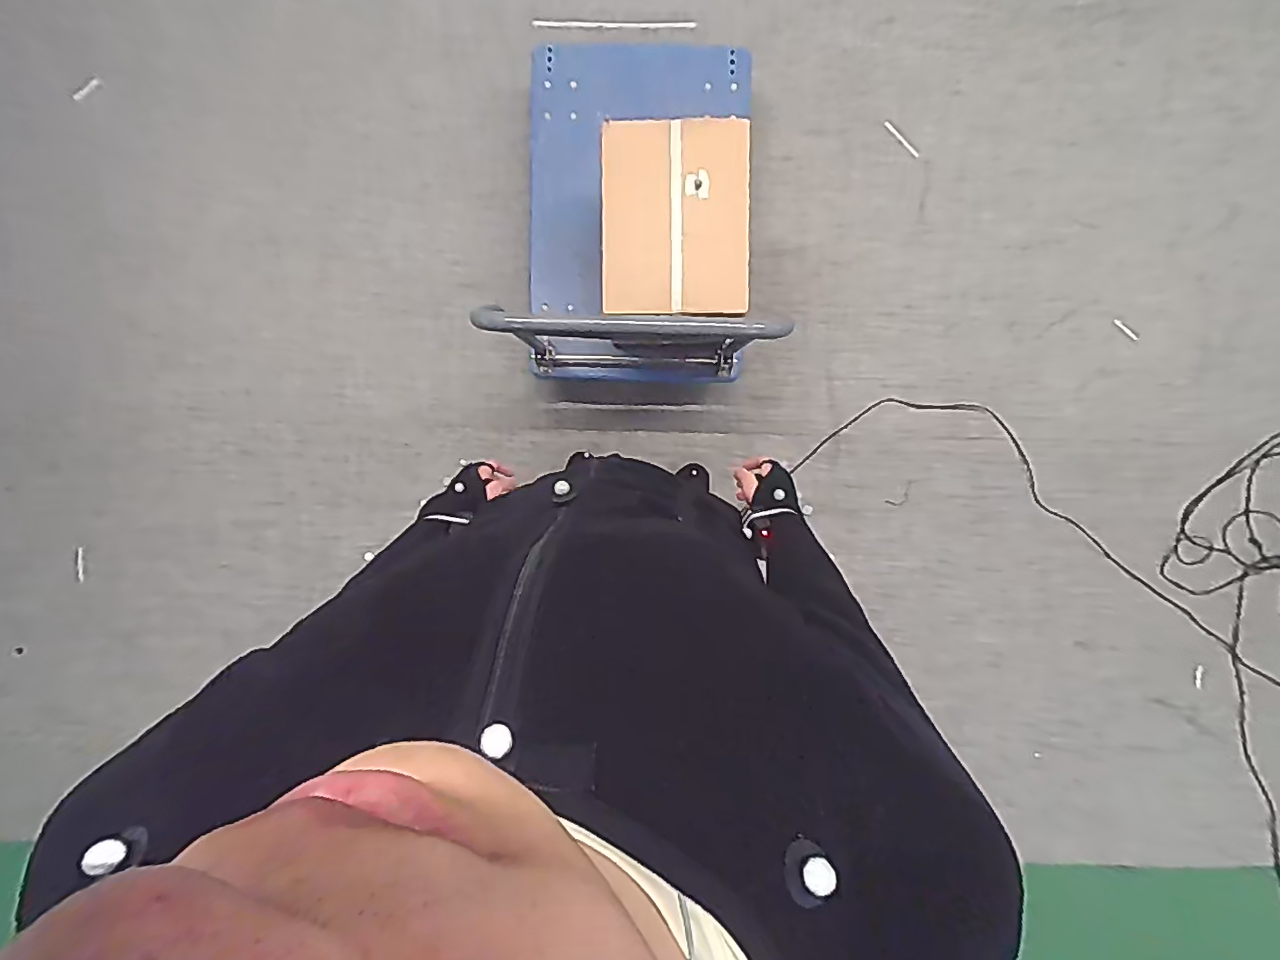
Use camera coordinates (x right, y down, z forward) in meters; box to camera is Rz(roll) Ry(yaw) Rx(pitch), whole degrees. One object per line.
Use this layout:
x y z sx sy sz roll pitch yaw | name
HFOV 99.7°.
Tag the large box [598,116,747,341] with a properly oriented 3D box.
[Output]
0.070 -0.563 1.283 0.320 0.320 0.408 0 93 -1 | large box
